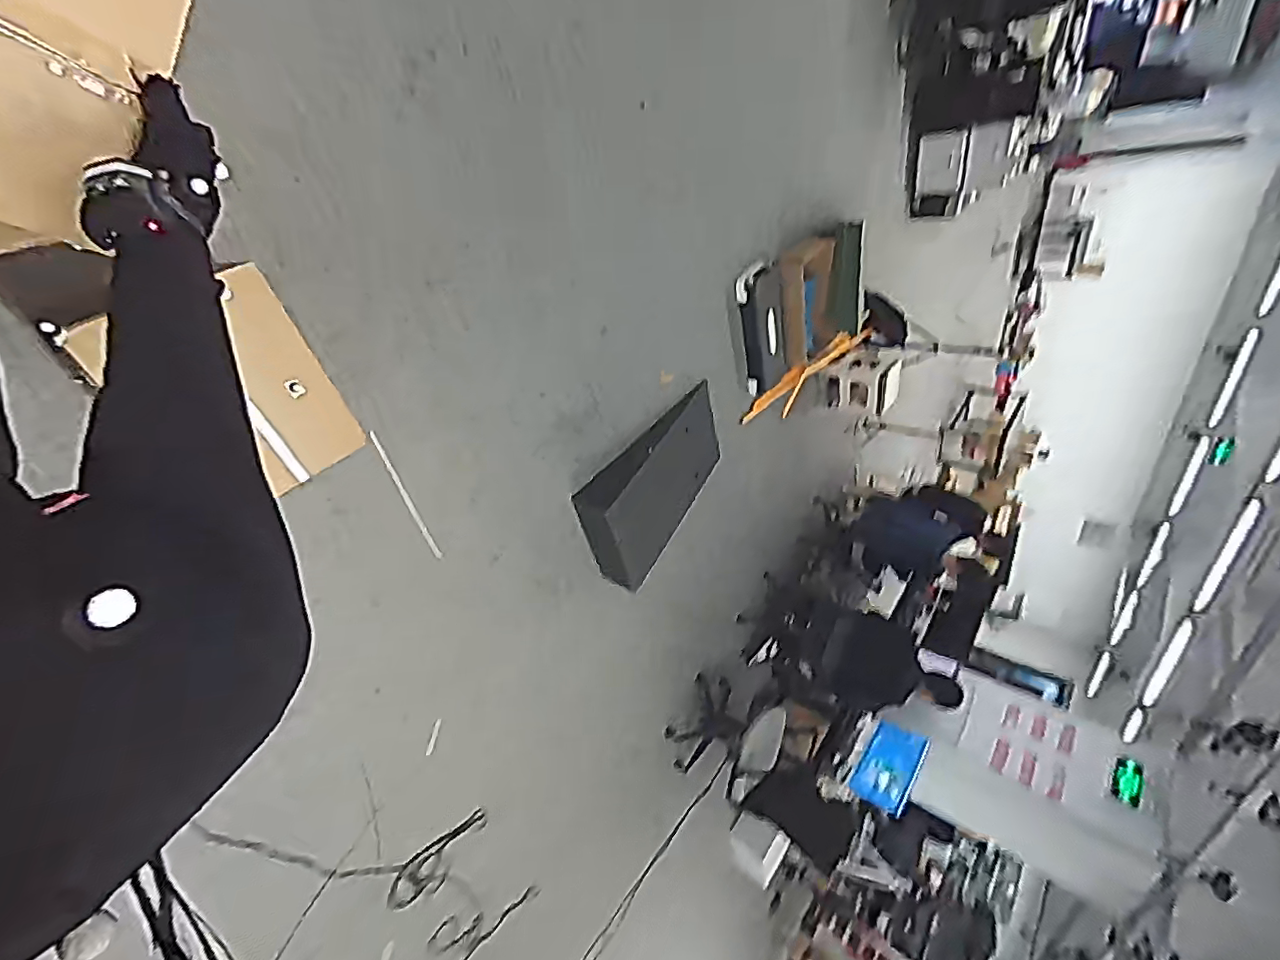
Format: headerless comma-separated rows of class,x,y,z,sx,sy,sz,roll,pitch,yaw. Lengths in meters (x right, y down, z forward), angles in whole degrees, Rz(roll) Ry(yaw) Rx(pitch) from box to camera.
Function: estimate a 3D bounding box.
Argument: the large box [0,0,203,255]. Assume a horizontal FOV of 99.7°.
large box,-0.979,-0.584,0.814,0.320,0.320,0.408,-39,131,-36
